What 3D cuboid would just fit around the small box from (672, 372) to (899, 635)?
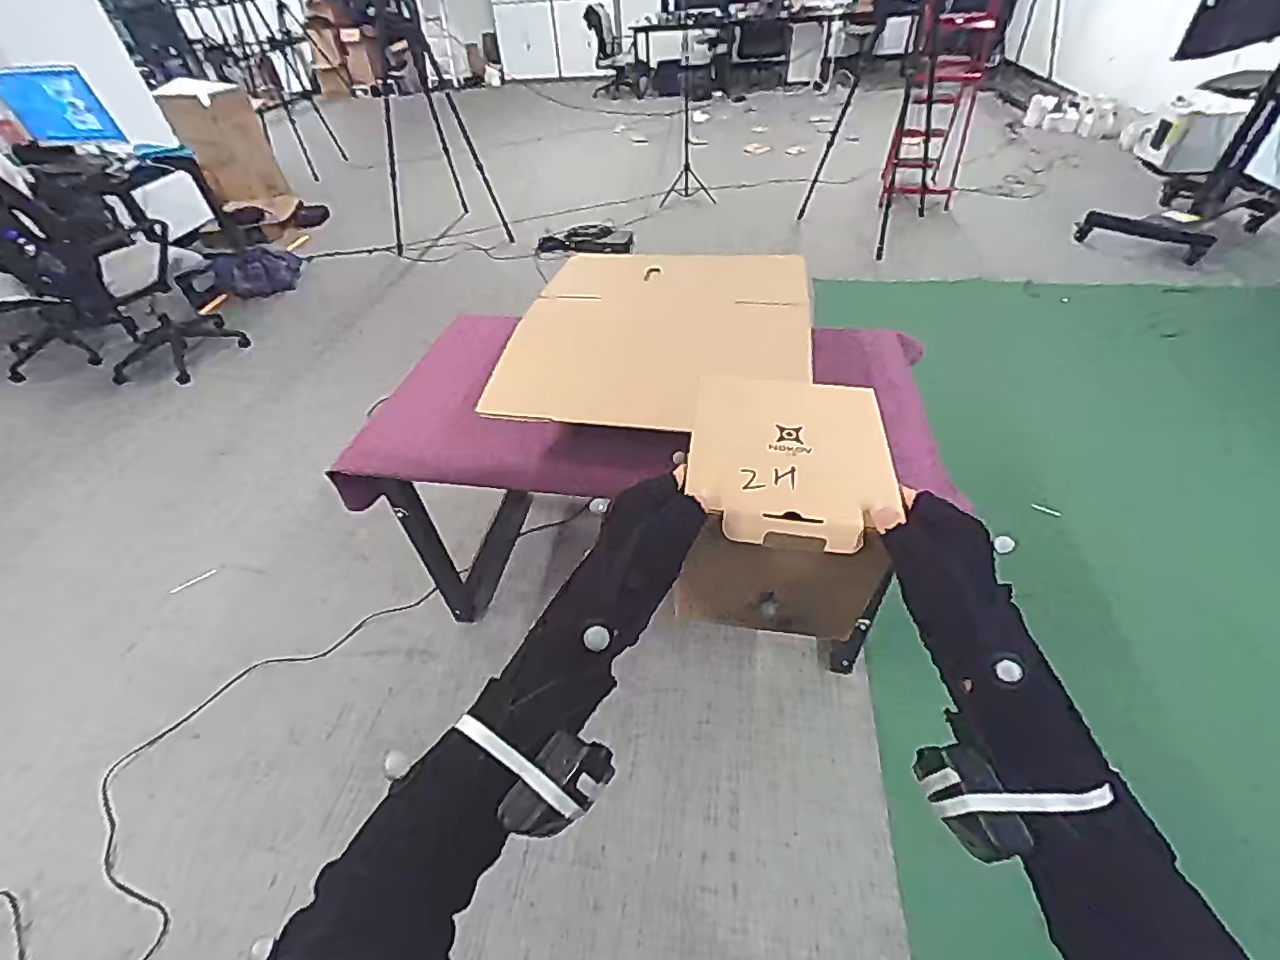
[{"bbox_3d":[0.122,0.021,0.518,0.168,0.176,0.179,6,47,6],"label":"small box"}]
